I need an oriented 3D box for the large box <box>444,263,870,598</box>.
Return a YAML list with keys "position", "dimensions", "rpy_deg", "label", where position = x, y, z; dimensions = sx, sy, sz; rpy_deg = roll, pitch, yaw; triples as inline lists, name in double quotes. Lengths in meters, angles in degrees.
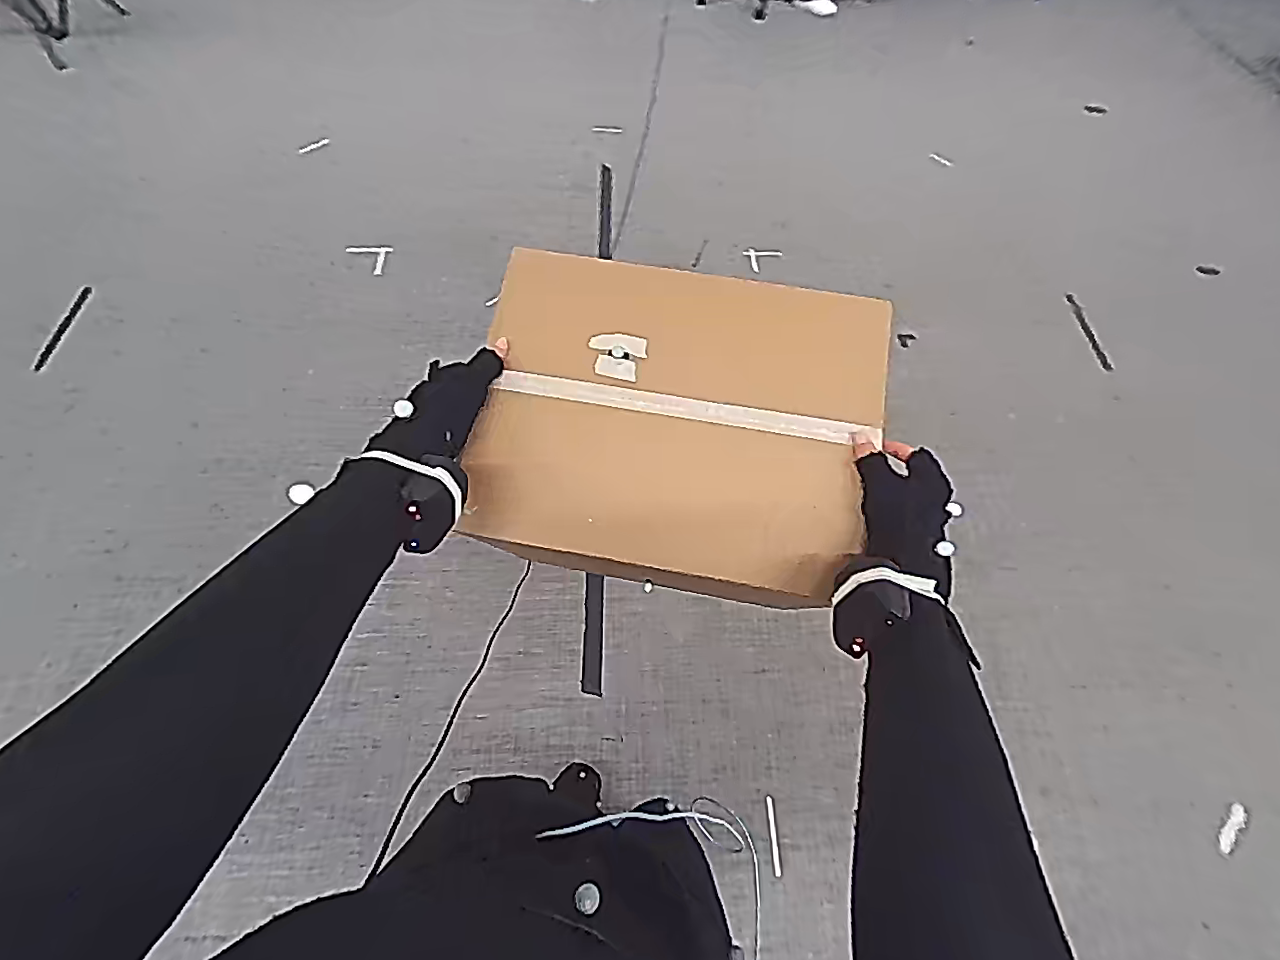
- position: [0.033, -0.034, 0.695]
  dimensions: [0.408, 0.320, 0.320]
  rpy_deg: [9, 75, 5]
  label: "large box"
